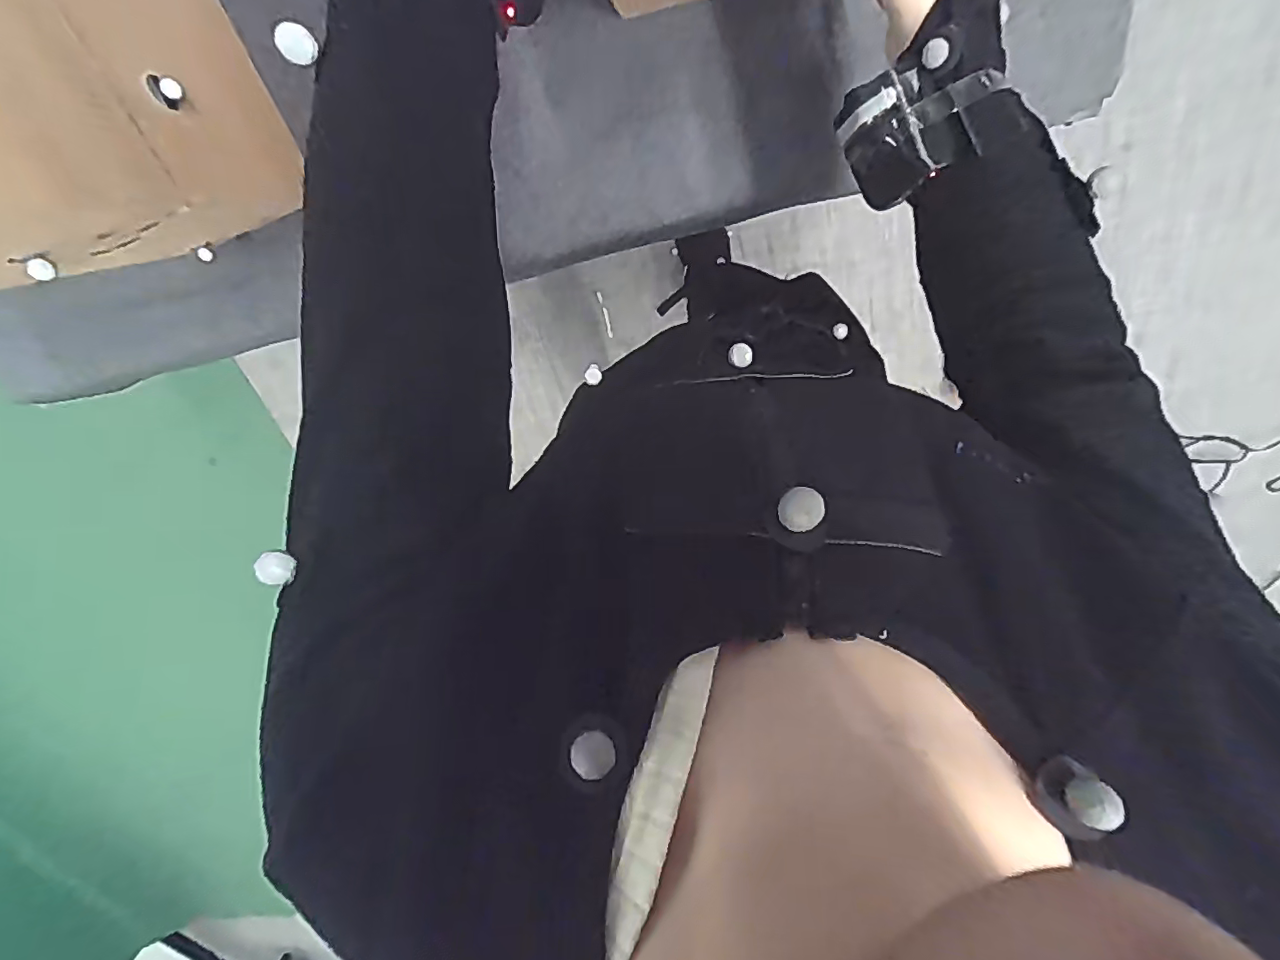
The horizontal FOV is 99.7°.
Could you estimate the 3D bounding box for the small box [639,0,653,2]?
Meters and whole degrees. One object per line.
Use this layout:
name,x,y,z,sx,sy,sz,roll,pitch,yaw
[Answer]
small box,0.040,-0.415,0.313,0.168,0.176,0.179,-7,119,8

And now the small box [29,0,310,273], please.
small box,-0.416,-0.290,0.431,0.168,0.176,0.179,-14,117,13

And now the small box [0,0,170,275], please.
small box,-0.431,-0.208,0.288,0.168,0.176,0.179,-15,118,15
